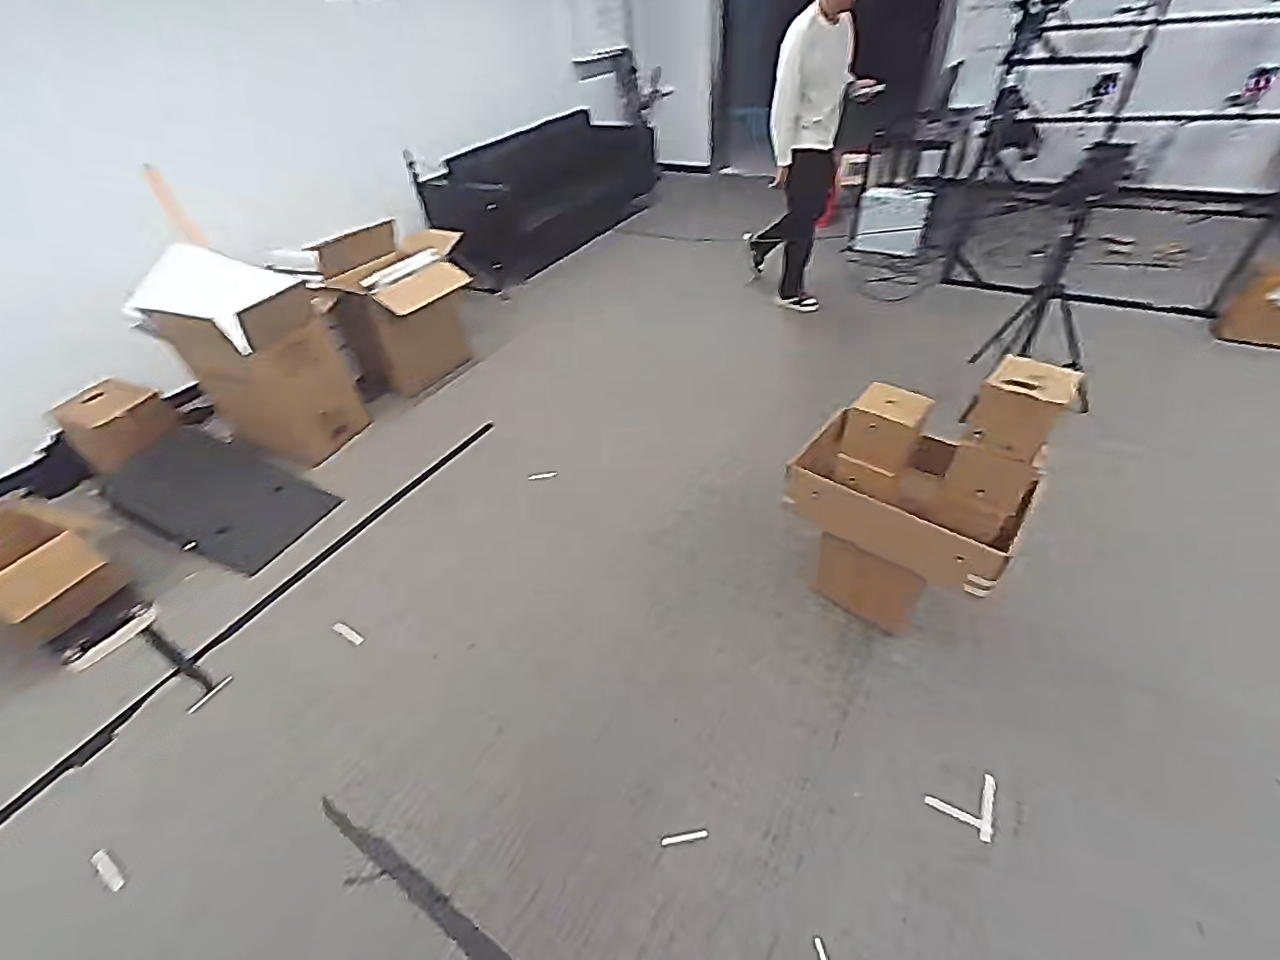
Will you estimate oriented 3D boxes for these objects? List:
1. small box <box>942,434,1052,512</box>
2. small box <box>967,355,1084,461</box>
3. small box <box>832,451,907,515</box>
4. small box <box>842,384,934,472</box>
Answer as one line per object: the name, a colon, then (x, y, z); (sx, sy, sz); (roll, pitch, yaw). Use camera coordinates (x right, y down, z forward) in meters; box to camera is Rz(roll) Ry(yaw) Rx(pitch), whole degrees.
small box: (0.927, -0.042, 1.411); (0.179, 0.176, 0.168); (26, 49, 29)
small box: (0.925, -0.174, 1.311); (0.168, 0.176, 0.179); (29, 50, 32)
small box: (0.709, -0.023, 1.665); (0.168, 0.176, 0.179); (26, 49, 29)
small box: (0.708, -0.149, 1.559); (0.179, 0.176, 0.168); (28, 51, 30)
